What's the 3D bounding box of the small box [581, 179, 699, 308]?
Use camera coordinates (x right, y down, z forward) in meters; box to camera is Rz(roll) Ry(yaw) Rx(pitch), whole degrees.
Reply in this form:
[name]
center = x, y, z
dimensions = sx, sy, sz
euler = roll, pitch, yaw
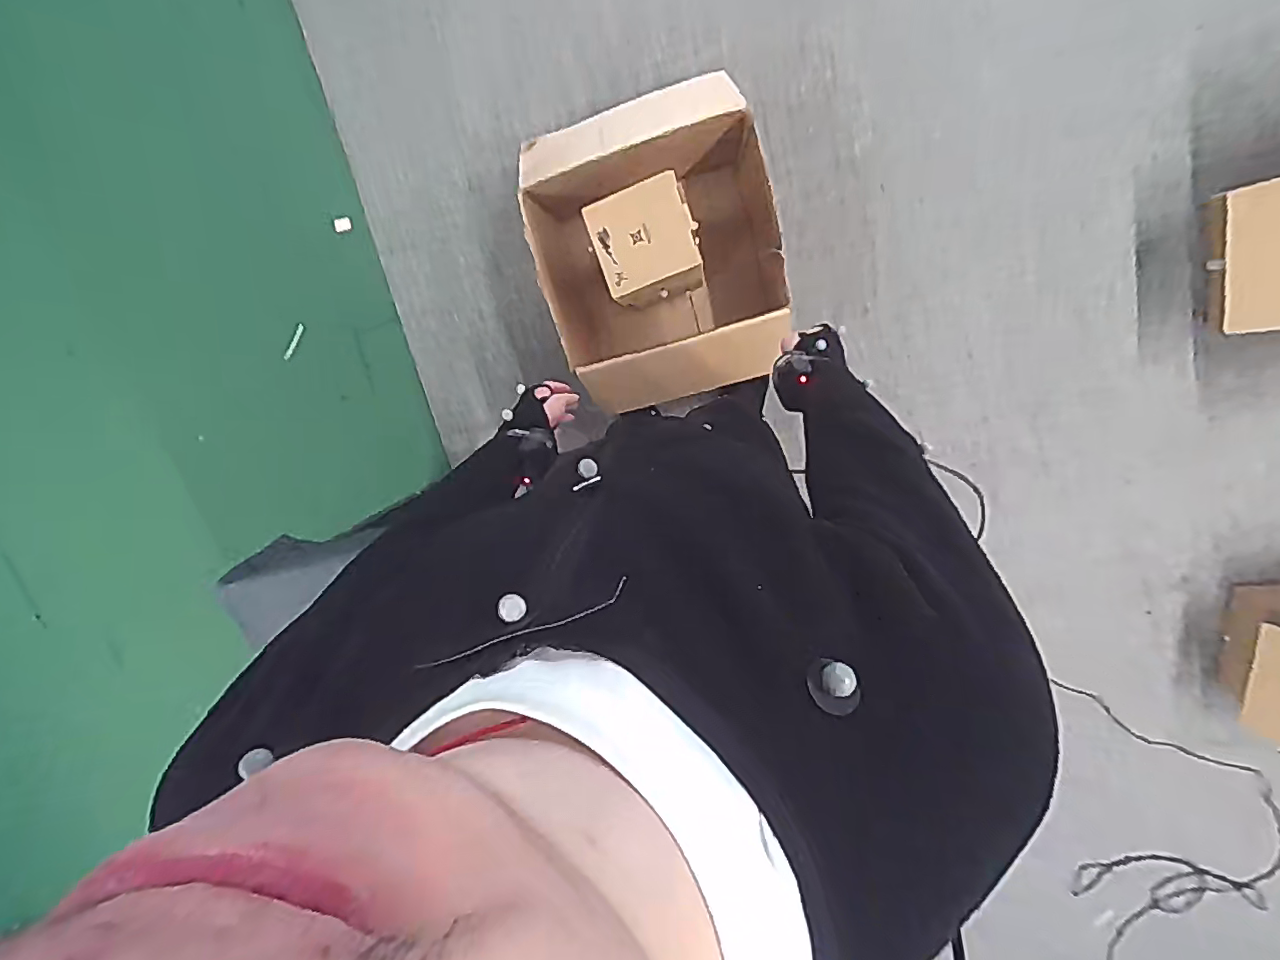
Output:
[small box]
center = 0.006, -0.450, 1.055
dimensions = 0.179, 0.176, 0.168
euler = -20, 101, 11
